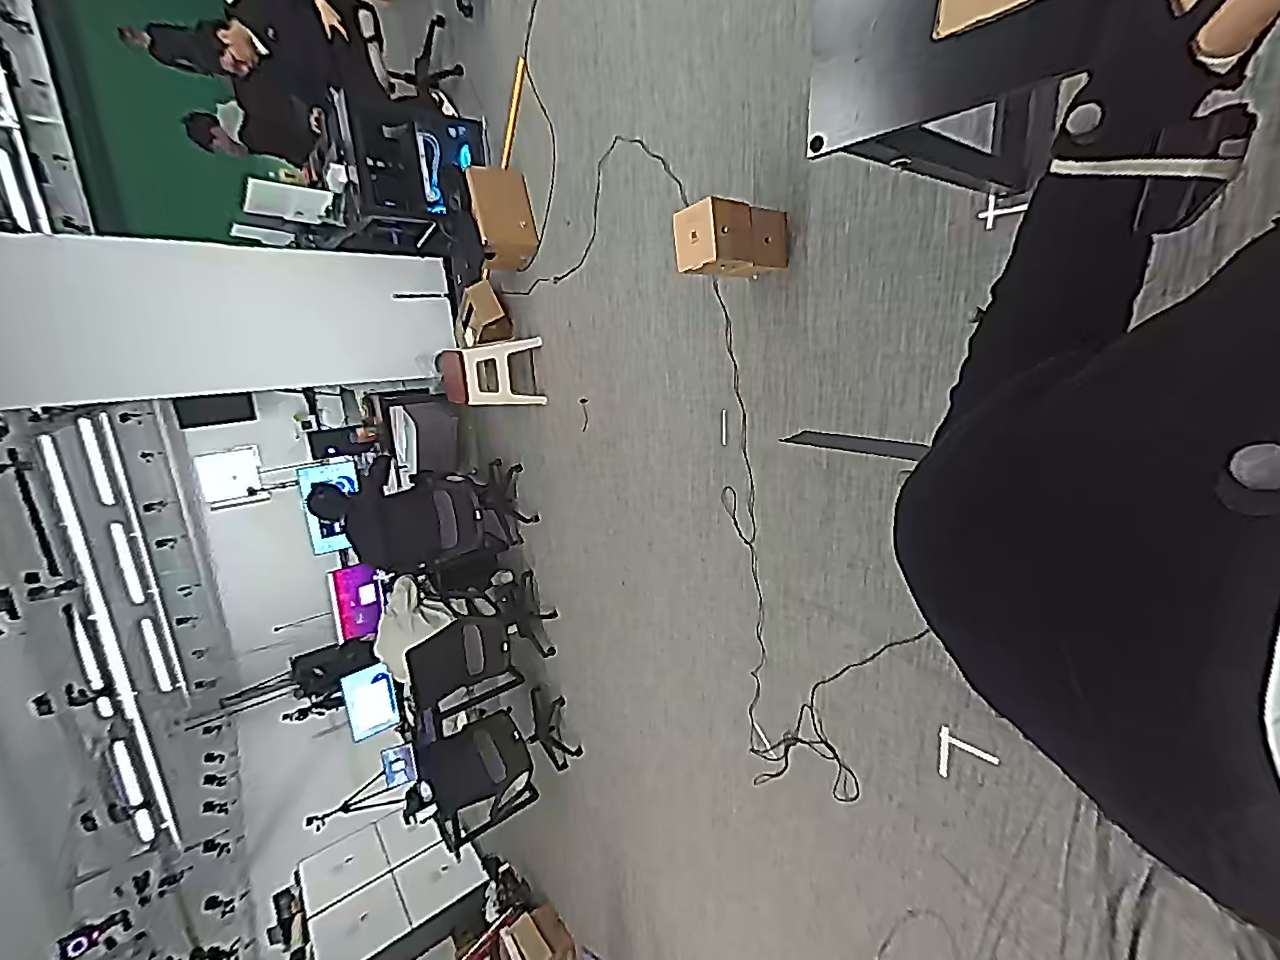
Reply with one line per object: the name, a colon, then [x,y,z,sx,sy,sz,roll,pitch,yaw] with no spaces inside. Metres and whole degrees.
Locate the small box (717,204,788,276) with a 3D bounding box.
small box: [0.360,-0.764,1.738,0.168,0.176,0.179,10,109,52]

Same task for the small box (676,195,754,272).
small box: [0.232,-0.739,1.641,0.168,0.176,0.179,5,105,52]
